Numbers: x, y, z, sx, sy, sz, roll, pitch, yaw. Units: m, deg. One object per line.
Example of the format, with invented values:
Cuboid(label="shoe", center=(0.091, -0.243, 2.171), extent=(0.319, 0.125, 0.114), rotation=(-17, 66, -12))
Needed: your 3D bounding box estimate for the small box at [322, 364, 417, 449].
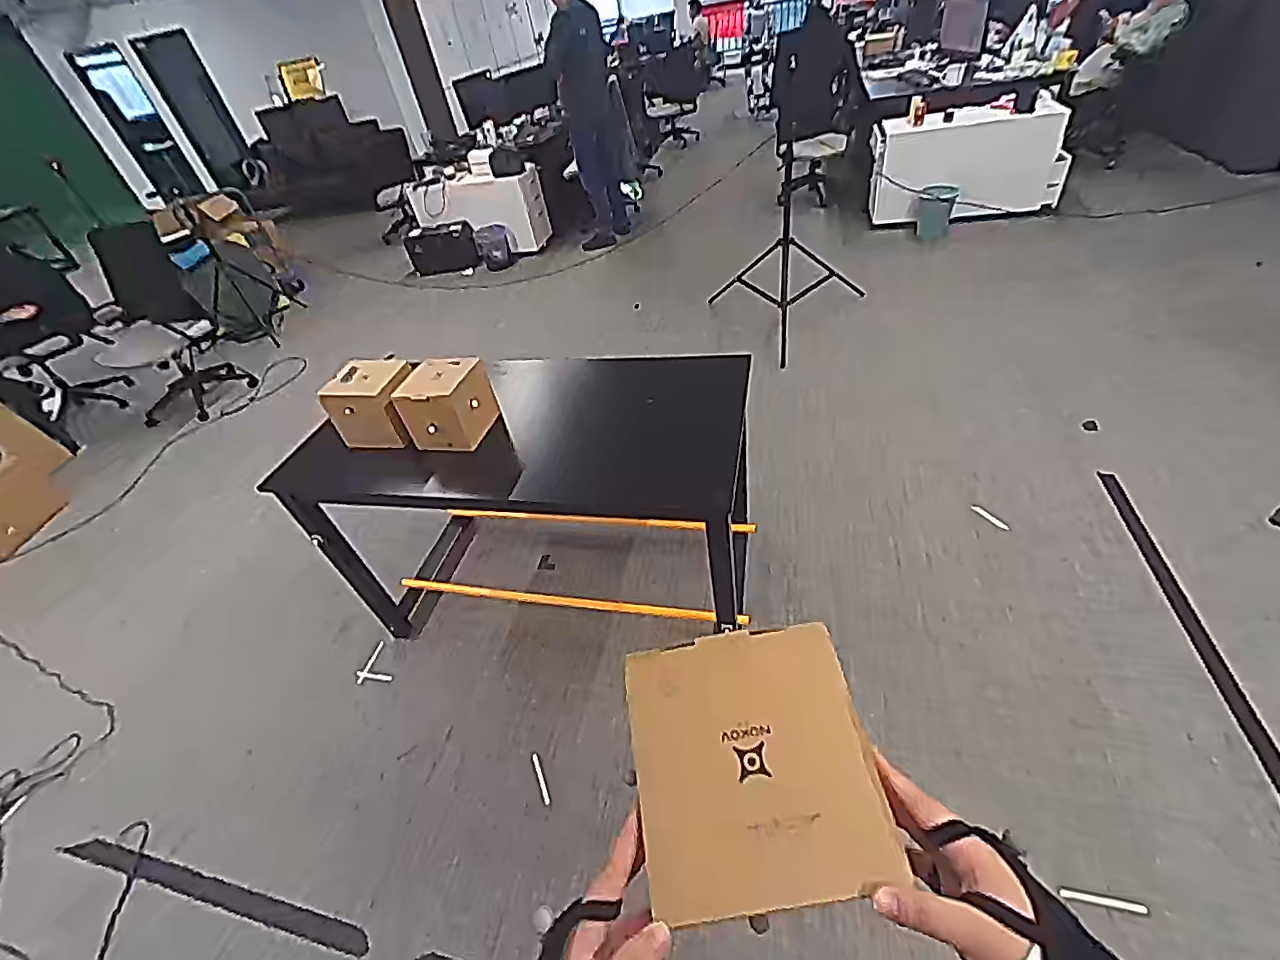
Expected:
Cuboid(label="small box", center=(-0.694, -0.195, 1.449), extent=(0.179, 0.176, 0.168), rotation=(2, 43, 13))

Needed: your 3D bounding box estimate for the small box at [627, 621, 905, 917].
Cuboid(label="small box", center=(0.087, 0.244, 0.456), extent=(0.168, 0.176, 0.179), rotation=(-11, 54, 1))

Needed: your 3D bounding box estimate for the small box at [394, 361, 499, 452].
Cuboid(label="small box", center=(-0.486, -0.187, 1.395), extent=(0.168, 0.176, 0.179), rotation=(3, 44, 15))
